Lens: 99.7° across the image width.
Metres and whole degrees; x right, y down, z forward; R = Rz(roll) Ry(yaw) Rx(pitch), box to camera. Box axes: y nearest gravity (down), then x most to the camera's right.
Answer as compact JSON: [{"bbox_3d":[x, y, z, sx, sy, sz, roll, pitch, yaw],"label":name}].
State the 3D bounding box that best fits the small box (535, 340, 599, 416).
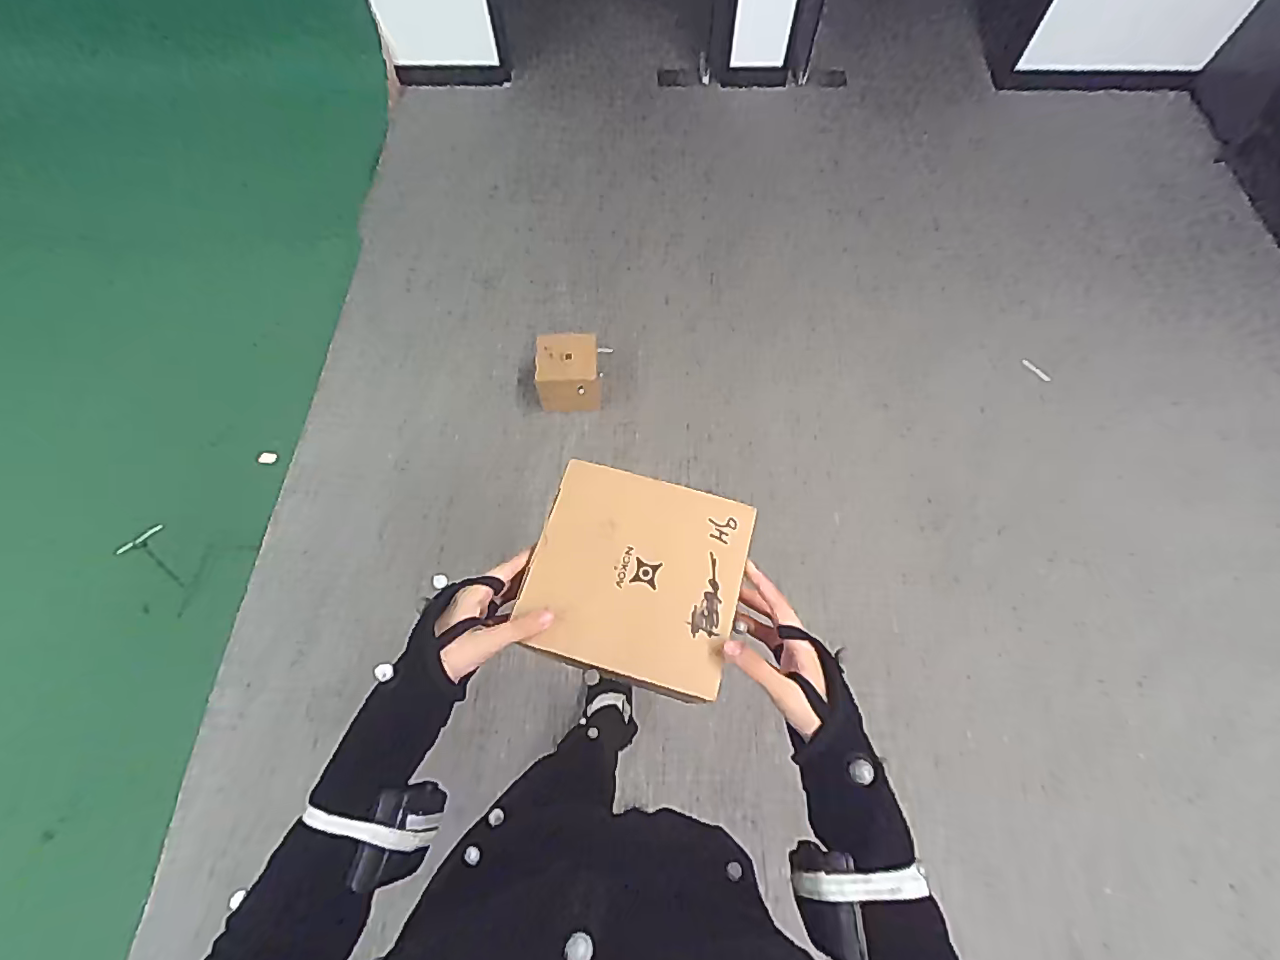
[{"bbox_3d":[-0.215,-0.308,1.646,0.179,0.176,0.168,-2,65,0],"label":"small box"}]
